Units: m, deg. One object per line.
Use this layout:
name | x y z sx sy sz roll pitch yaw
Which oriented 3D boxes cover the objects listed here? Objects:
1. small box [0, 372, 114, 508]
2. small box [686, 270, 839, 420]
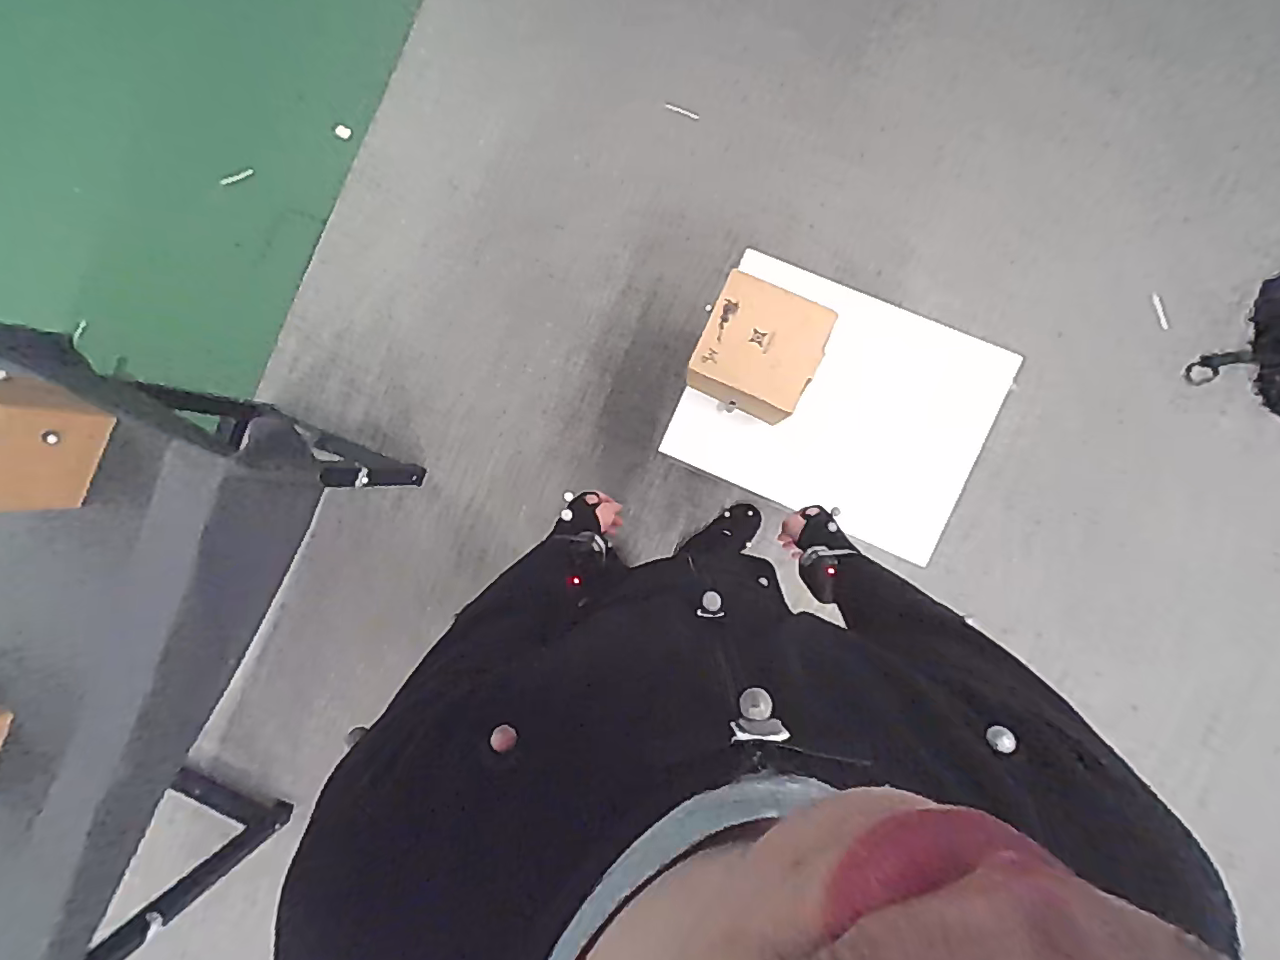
small box | -1.012 -0.069 0.866 0.168 0.176 0.179 25 94 6
small box | 0.187 -0.205 0.877 0.179 0.176 0.168 25 92 4
